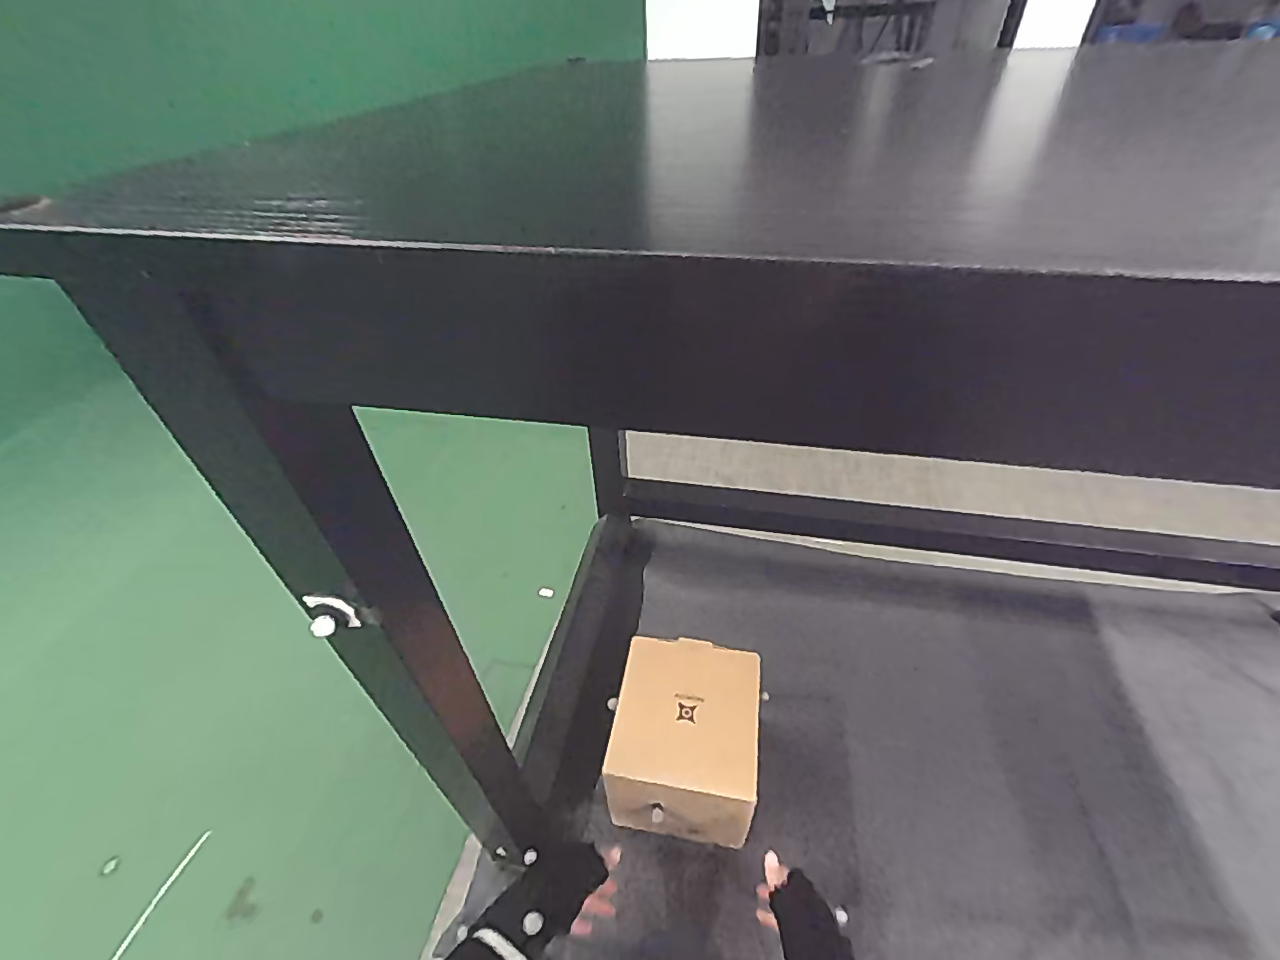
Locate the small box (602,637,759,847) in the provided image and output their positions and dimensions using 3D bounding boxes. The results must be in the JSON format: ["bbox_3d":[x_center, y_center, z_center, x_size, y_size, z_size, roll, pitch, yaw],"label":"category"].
[{"bbox_3d":[0.057,0.327,0.678,0.168,0.176,0.179,5,41,9],"label":"small box"}]
